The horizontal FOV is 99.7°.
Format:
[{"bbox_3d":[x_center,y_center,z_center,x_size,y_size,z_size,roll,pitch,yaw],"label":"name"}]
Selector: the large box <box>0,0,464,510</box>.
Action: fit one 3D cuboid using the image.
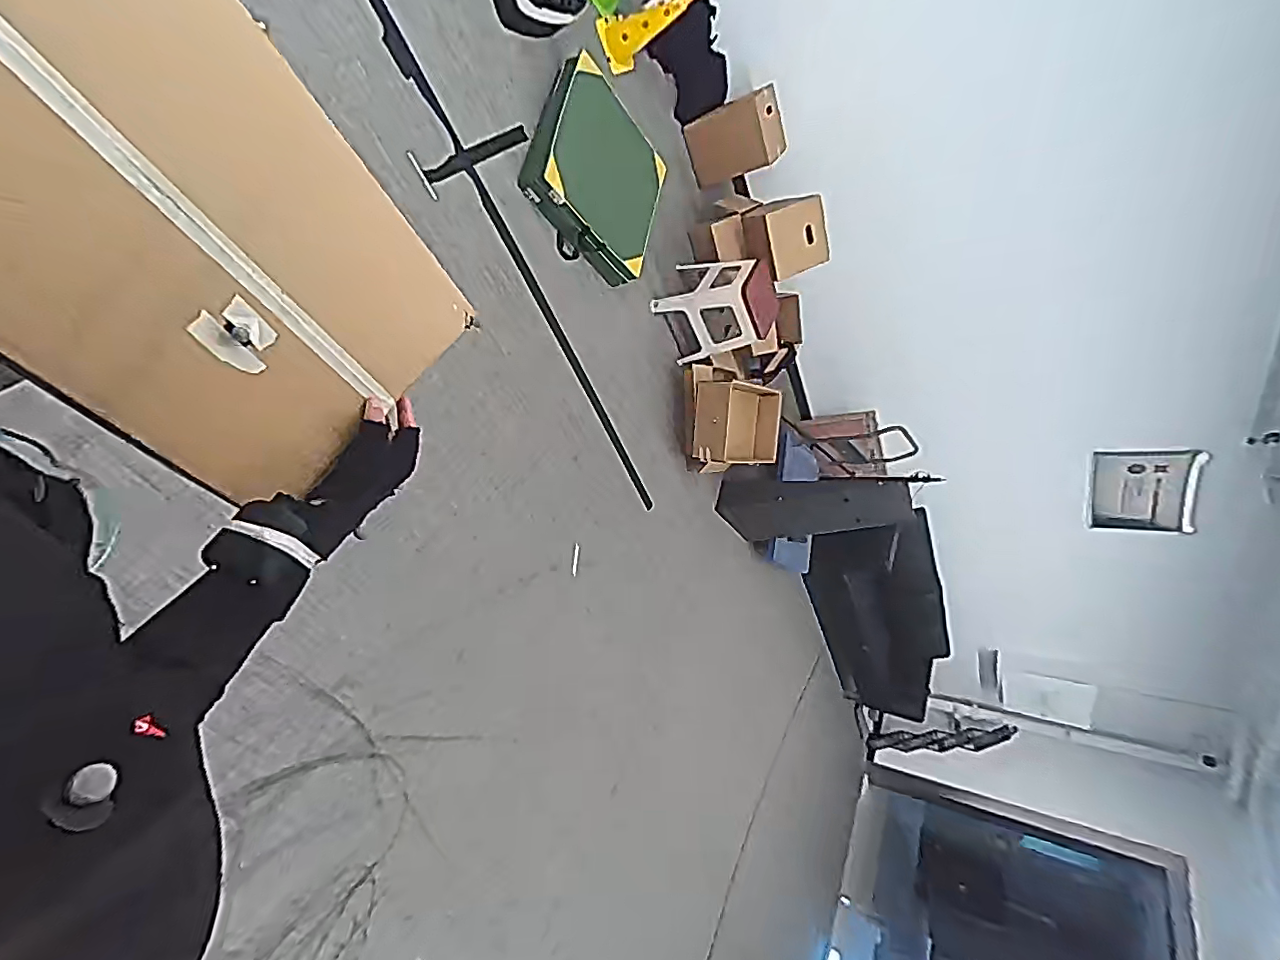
[{"bbox_3d":[-0.477,-0.227,0.535,0.320,0.320,0.408,-58,138,-24],"label":"large box"}]
